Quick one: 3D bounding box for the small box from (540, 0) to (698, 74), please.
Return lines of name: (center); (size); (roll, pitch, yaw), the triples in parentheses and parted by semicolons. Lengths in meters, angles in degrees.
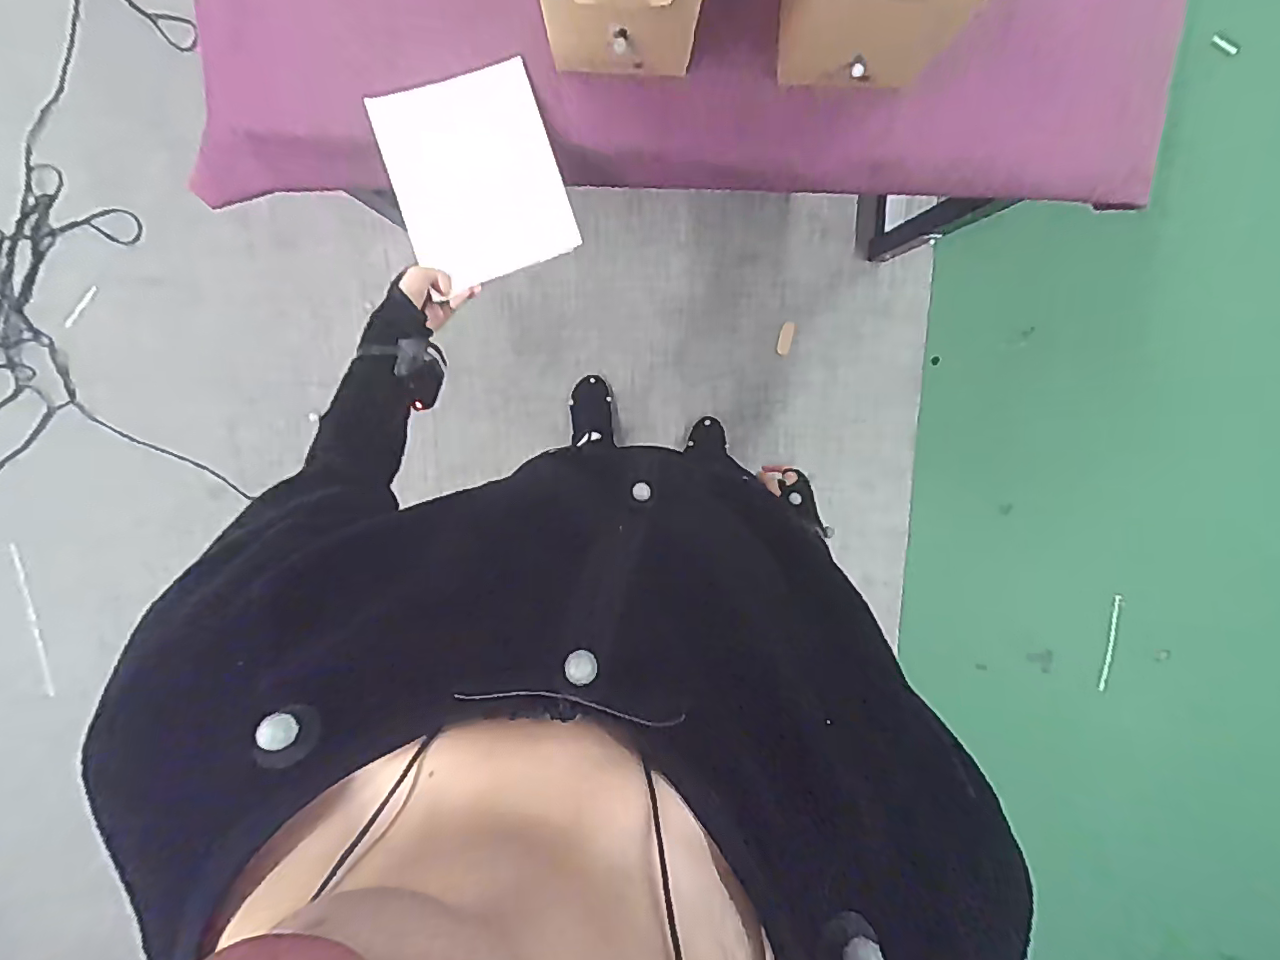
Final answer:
small box: (-0.018, -0.577, 0.583); (0.168, 0.176, 0.179); (1, 101, -2)
